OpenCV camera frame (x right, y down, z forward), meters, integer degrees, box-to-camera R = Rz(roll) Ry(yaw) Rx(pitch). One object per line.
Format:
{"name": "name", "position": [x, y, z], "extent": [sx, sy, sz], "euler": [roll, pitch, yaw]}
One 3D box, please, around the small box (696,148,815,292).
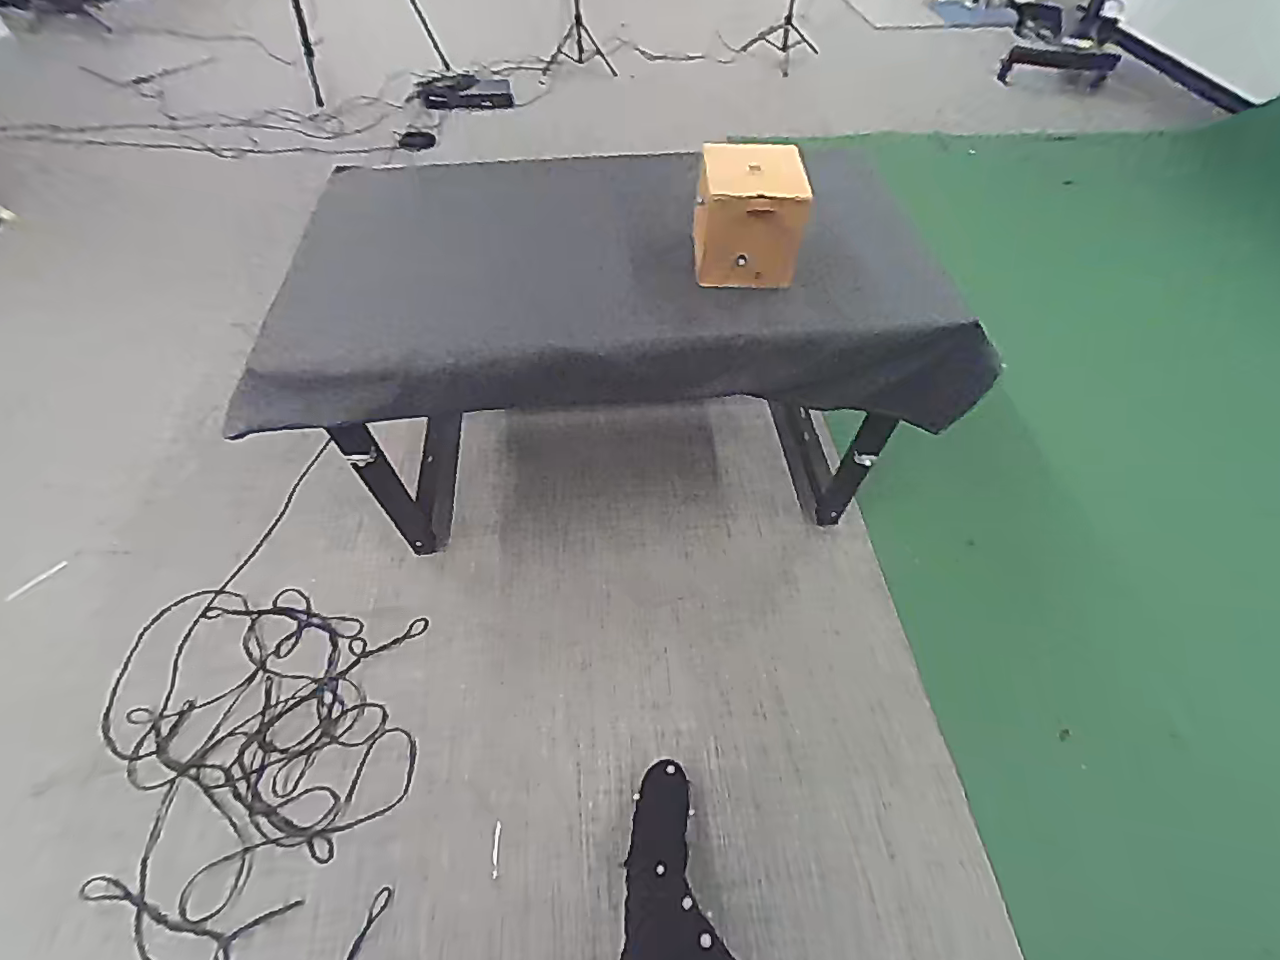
{"name": "small box", "position": [0.194, -0.461, 0.965], "extent": [0.168, 0.176, 0.179], "euler": [1, 55, -1]}
